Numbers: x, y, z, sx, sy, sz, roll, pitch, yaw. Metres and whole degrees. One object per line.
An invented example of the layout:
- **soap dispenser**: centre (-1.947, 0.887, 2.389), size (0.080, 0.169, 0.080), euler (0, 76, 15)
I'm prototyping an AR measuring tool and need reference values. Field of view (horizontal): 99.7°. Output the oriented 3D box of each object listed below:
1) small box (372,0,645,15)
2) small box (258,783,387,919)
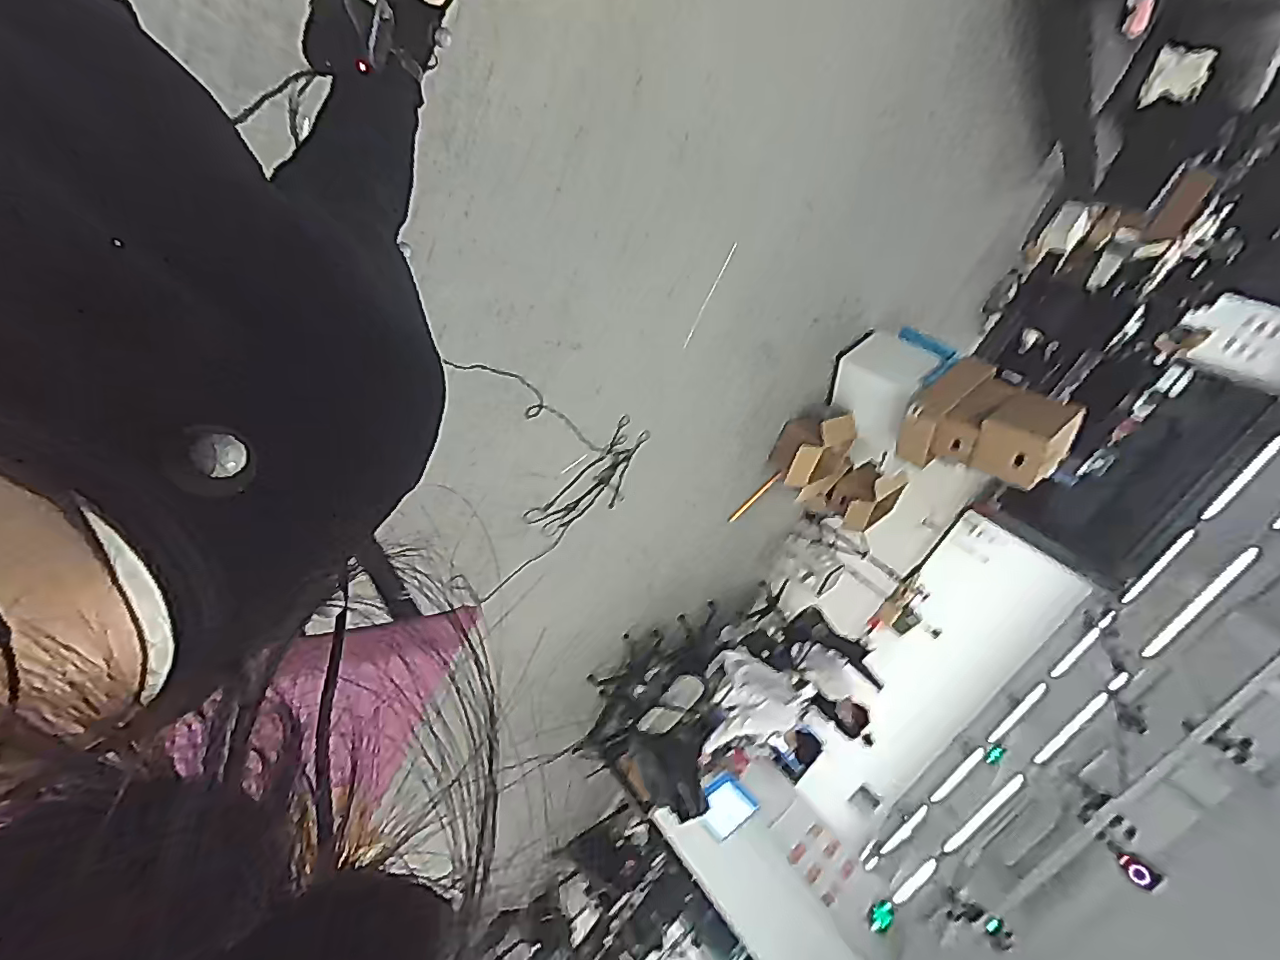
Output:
- **small box**: centre (-0.083, -0.400, 0.300), size (0.179, 0.168, 0.176), euler (-1, 147, -5)
- **small box**: centre (-0.722, 0.827, 1.229), size (0.168, 0.176, 0.179), euler (-56, 146, 7)
